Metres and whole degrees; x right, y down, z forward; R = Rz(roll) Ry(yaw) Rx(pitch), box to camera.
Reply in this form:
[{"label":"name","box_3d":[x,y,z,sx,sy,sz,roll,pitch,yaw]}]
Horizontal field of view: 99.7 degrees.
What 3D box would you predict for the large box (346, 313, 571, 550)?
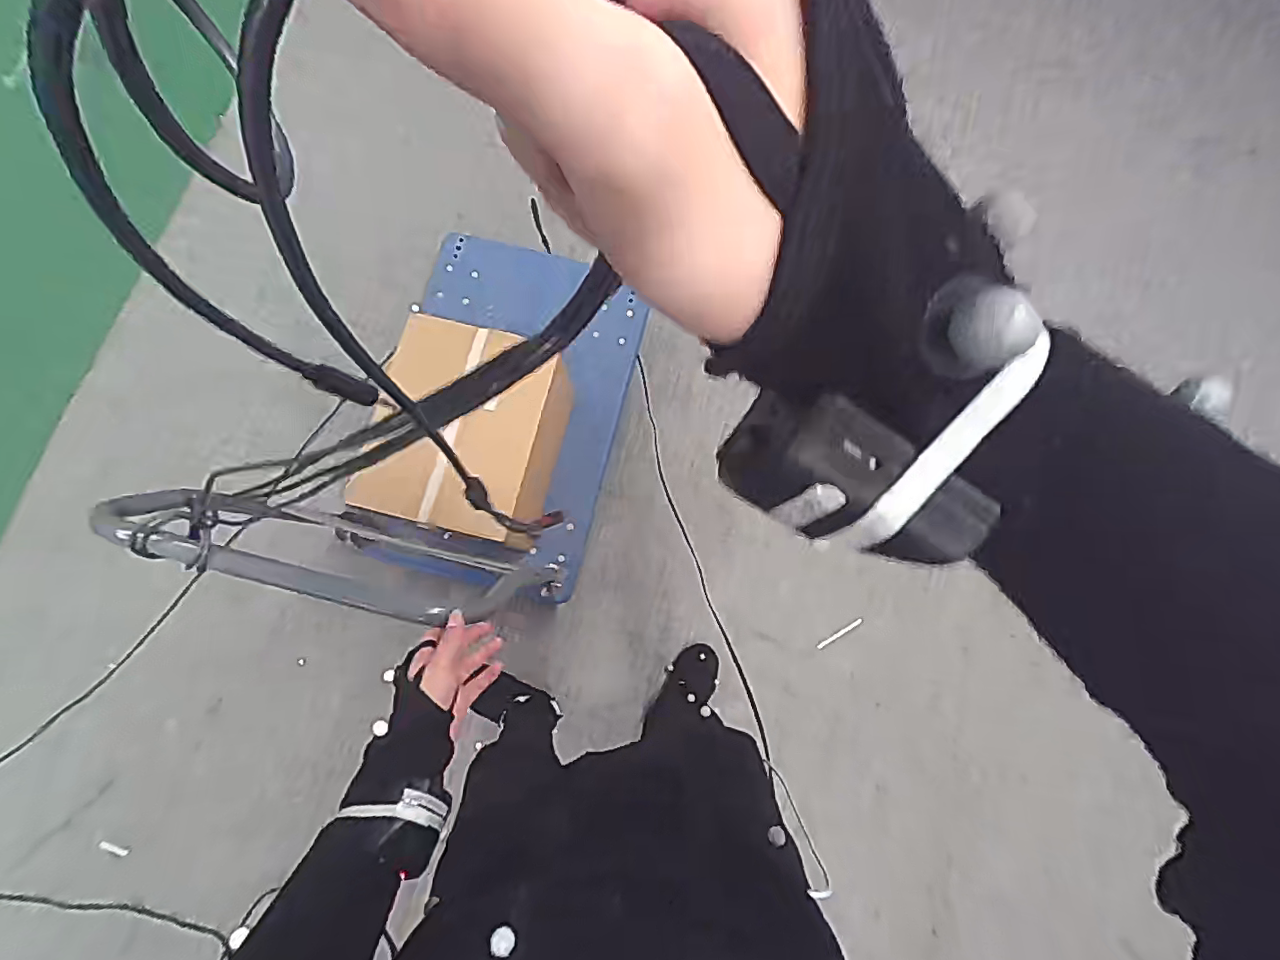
[{"label":"large box","box_3d":[-0.360,-0.083,1.183,0.320,0.320,0.408,14,79,1]}]
